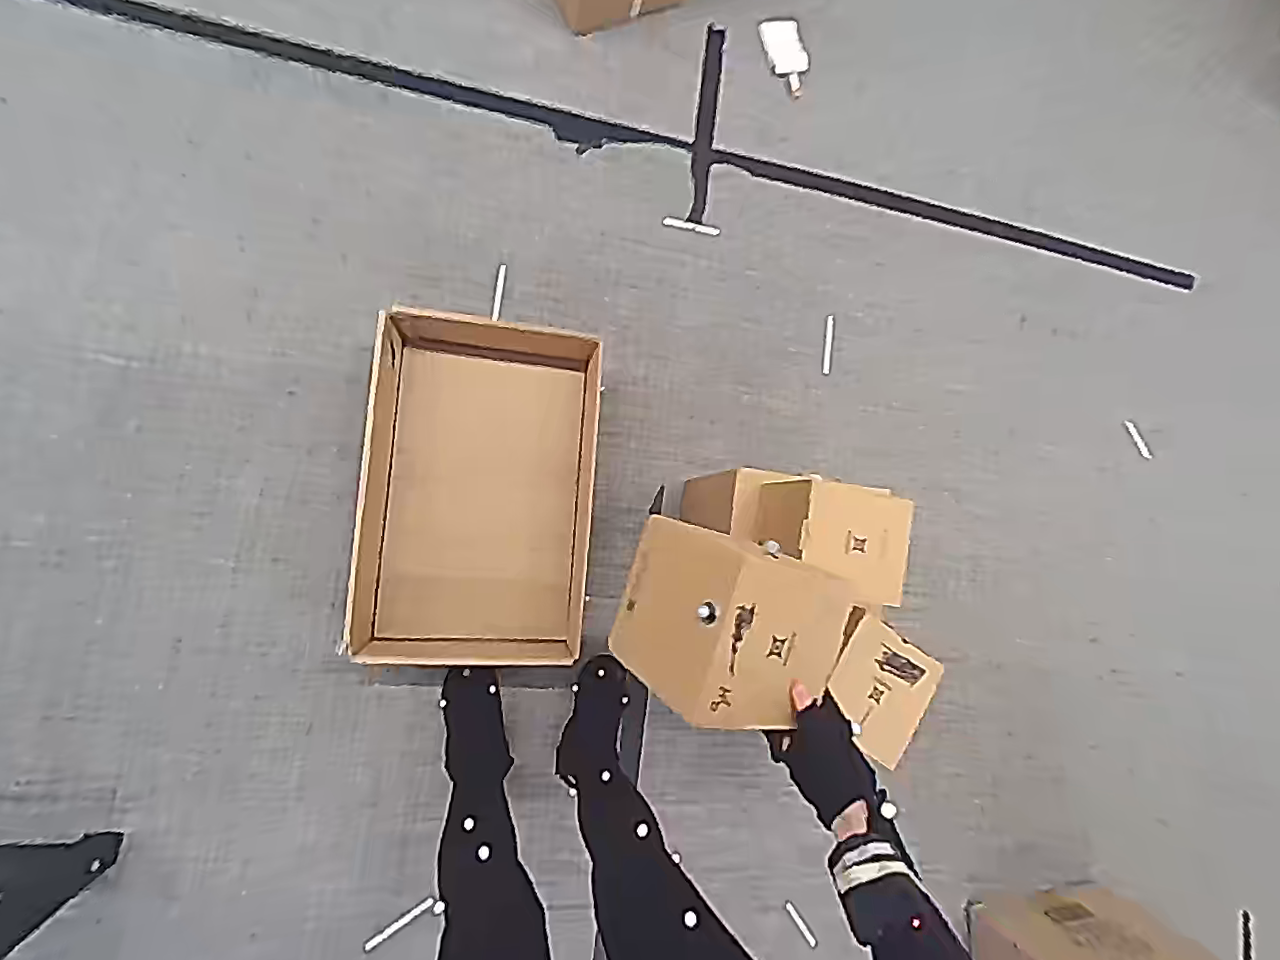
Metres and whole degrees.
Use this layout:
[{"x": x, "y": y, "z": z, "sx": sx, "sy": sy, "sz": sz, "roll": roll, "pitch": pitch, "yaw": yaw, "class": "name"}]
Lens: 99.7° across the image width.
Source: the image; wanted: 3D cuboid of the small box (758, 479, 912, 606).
[{"x": 0.300, "y": 0.097, "z": 0.874, "sx": 0.179, "sy": 0.176, "sz": 0.168, "roll": 10, "pitch": 86, "yaw": -12, "class": "small box"}]

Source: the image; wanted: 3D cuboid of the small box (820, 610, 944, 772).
[{"x": 0.328, "y": 0.311, "z": 0.862, "sx": 0.168, "sy": 0.176, "sz": 0.179, "roll": 36, "pitch": 79, "yaw": -8, "class": "small box"}]

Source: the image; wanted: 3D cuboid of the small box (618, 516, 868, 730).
[{"x": 0.106, "y": 0.149, "z": 0.593, "sx": 0.179, "sy": 0.176, "sz": 0.168, "roll": 19, "pitch": 89, "yaw": -32, "class": "small box"}]

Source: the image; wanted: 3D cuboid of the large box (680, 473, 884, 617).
[{"x": 0.262, "y": 0.206, "z": 1.107, "sx": 0.320, "sy": 0.320, "sz": 0.408, "roll": 7, "pitch": 85, "yaw": -11, "class": "large box"}]
